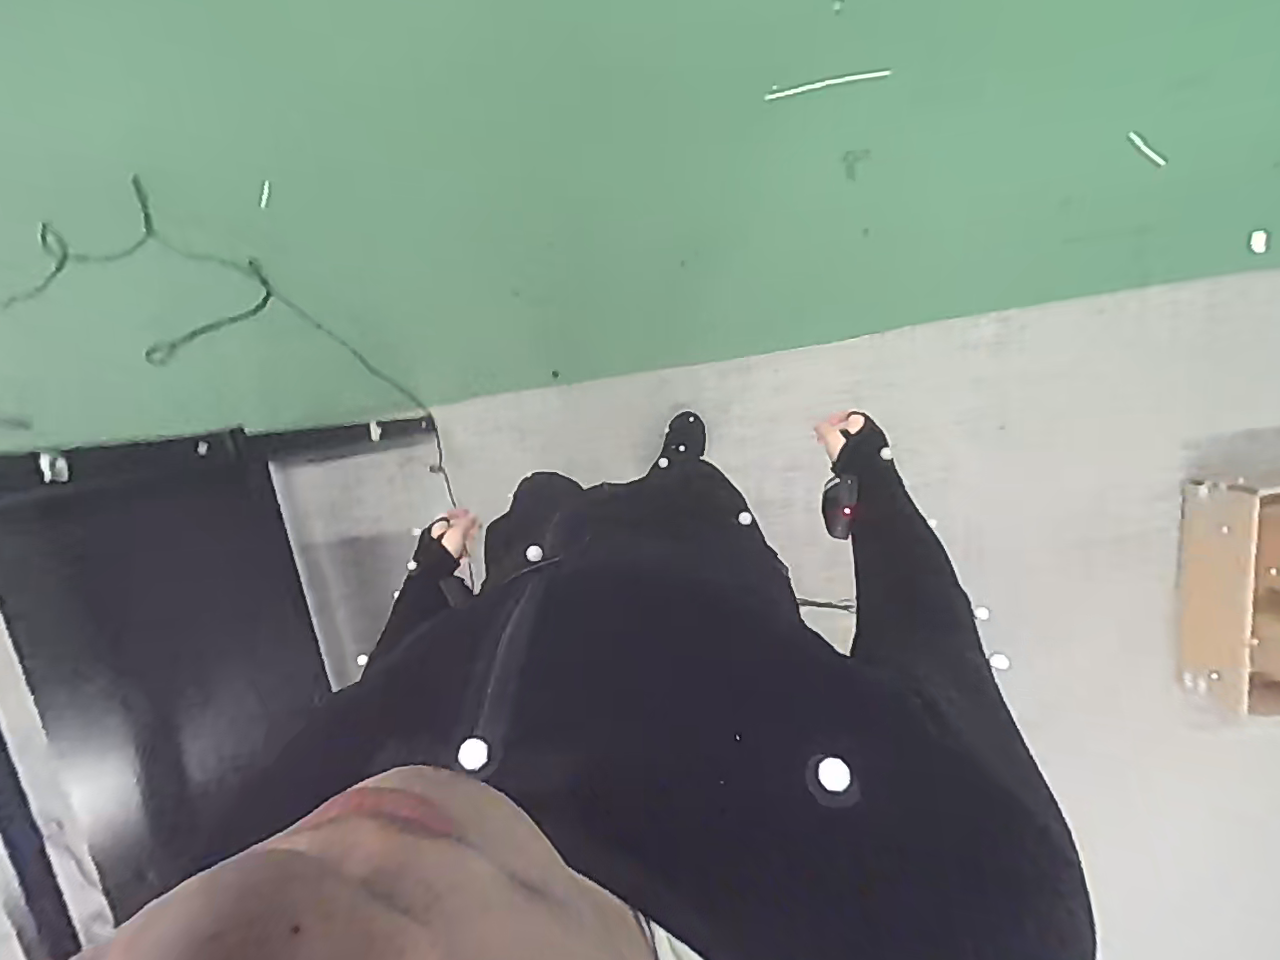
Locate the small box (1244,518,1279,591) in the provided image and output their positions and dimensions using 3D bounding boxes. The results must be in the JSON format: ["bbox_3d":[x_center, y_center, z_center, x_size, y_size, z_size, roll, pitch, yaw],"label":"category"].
[{"bbox_3d":[1.689,0.193,1.358,0.179,0.176,0.168,-8,100,6],"label":"small box"}]
